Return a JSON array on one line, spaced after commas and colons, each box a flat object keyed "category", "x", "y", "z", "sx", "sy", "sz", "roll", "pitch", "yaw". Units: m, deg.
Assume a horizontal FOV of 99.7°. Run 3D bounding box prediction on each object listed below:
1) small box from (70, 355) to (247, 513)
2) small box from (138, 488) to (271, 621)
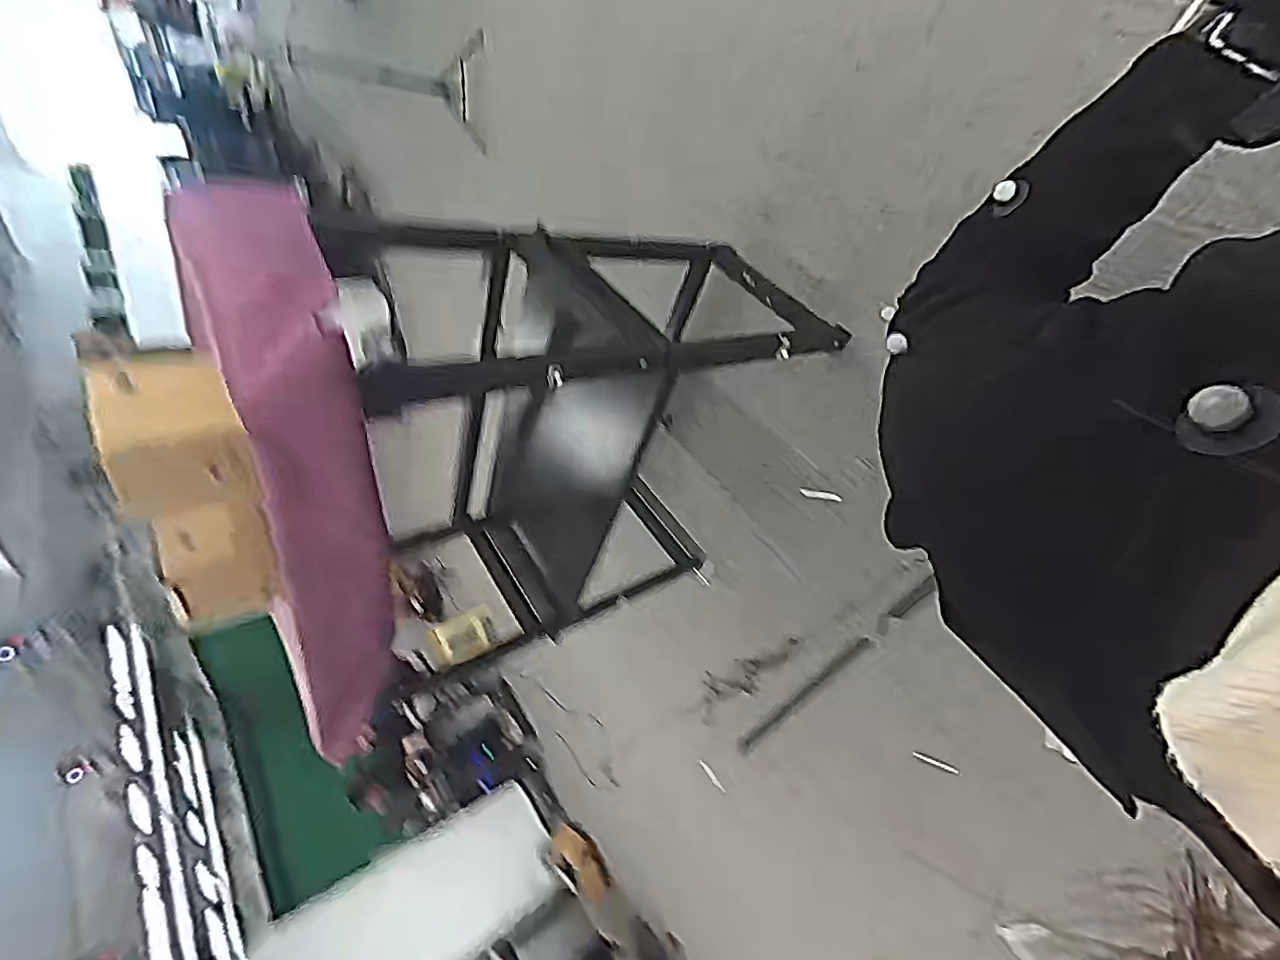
[{"category": "small box", "x": -0.734, "y": -0.079, "z": 0.840, "sx": 0.179, "sy": 0.176, "sz": 0.168, "roll": 54, "pitch": 139, "yaw": 25}, {"category": "small box", "x": -0.846, "y": 0.138, "z": 1.065, "sx": 0.179, "sy": 0.176, "sz": 0.168, "roll": 47, "pitch": 135, "yaw": 32}]
